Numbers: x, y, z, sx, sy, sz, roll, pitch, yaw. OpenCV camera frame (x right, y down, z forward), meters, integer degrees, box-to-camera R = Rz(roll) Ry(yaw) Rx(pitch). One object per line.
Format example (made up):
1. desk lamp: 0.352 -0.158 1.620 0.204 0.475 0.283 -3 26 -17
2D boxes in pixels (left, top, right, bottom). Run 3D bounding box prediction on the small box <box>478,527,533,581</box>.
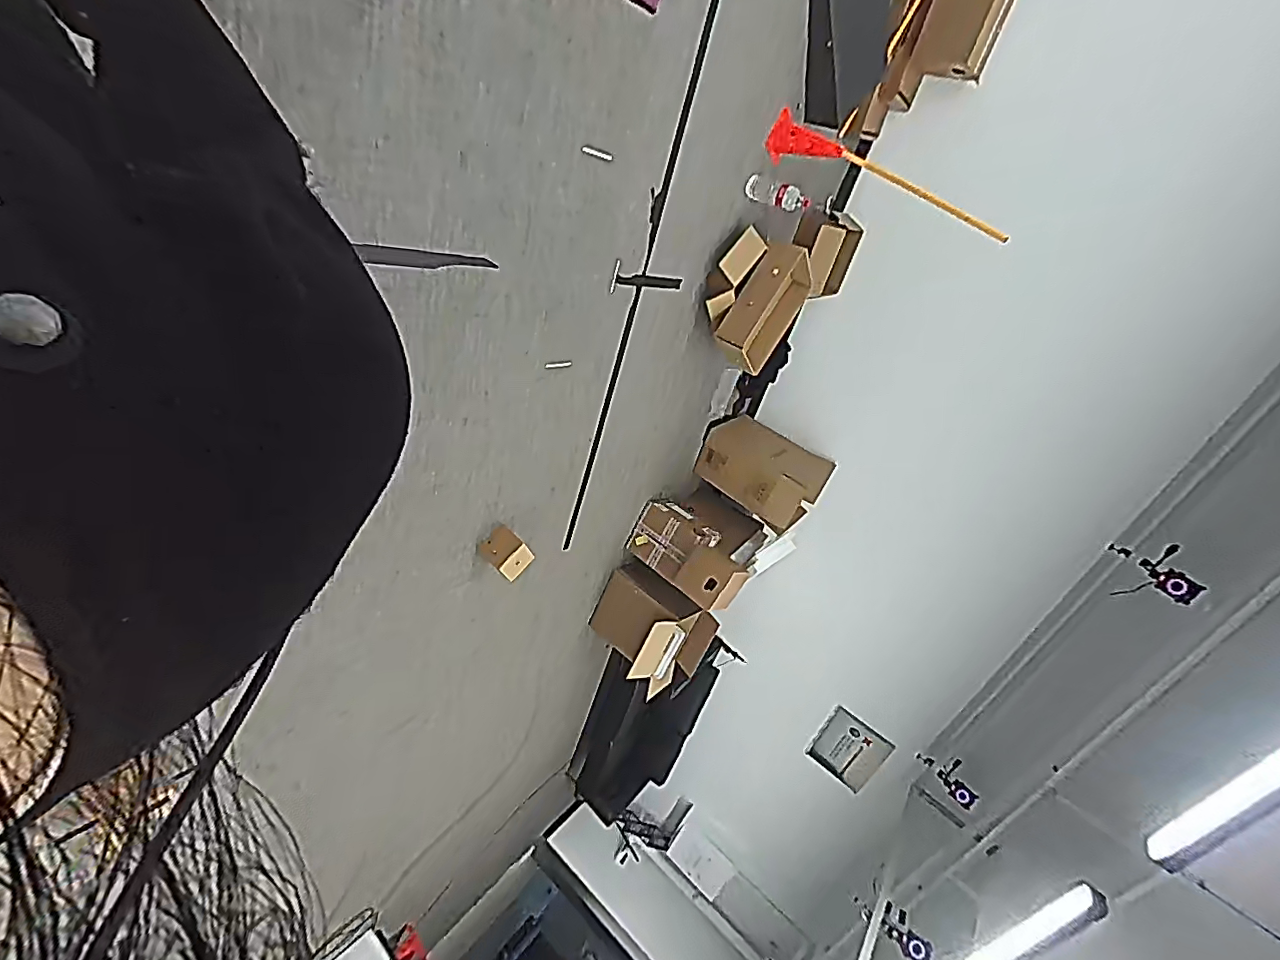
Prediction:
1. small box: -0.648 0.349 2.600 0.168 0.176 0.179 -47 154 -18
